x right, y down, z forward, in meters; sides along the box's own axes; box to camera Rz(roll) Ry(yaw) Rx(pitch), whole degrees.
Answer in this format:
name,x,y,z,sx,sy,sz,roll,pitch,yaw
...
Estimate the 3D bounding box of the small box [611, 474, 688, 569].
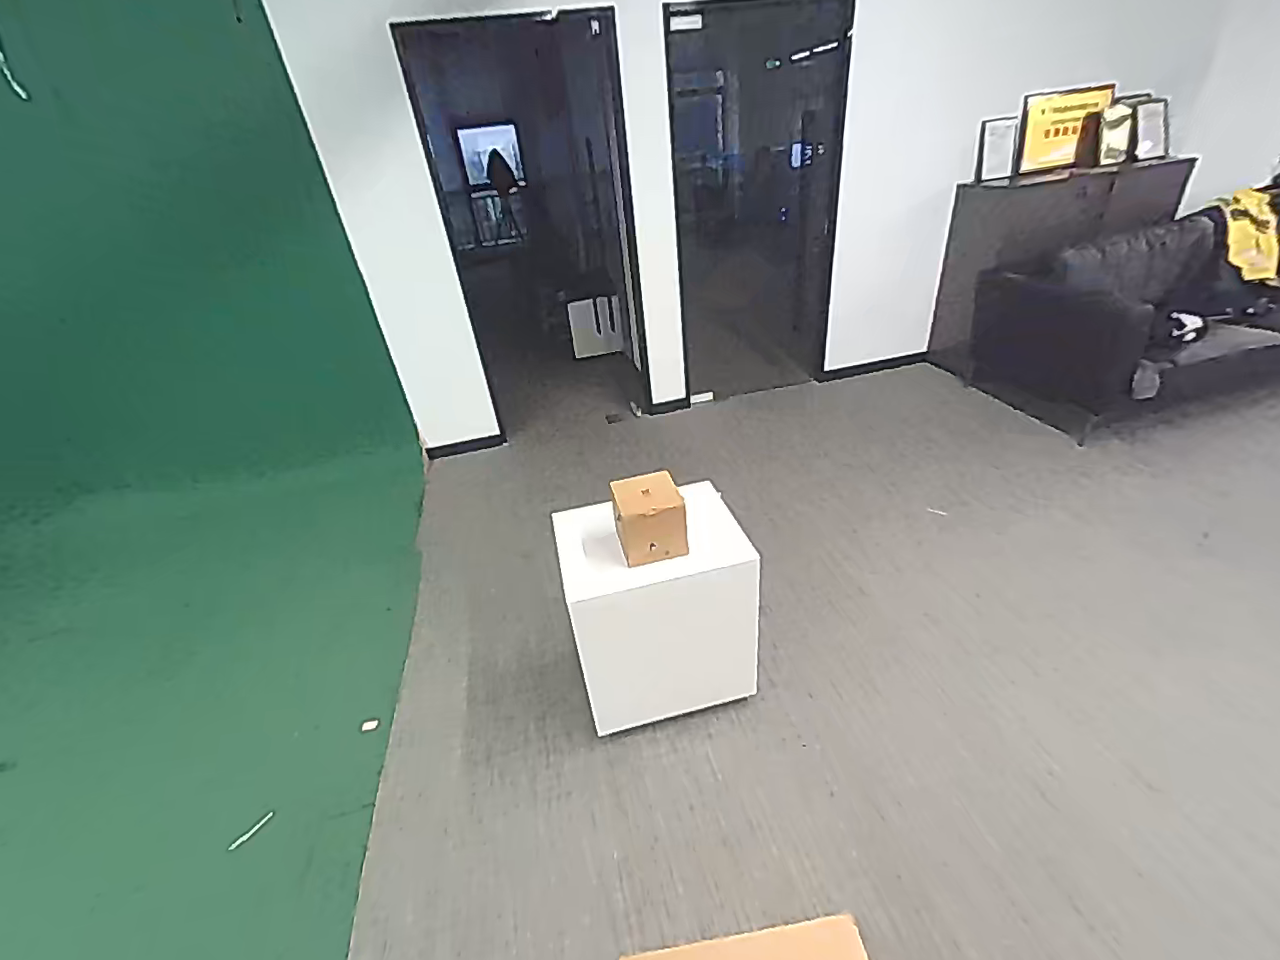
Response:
name,x,y,z,sx,sy,sz,roll,pitch,yaw
small box,0.023,0.109,1.437,0.168,0.176,0.179,-12,31,-8
